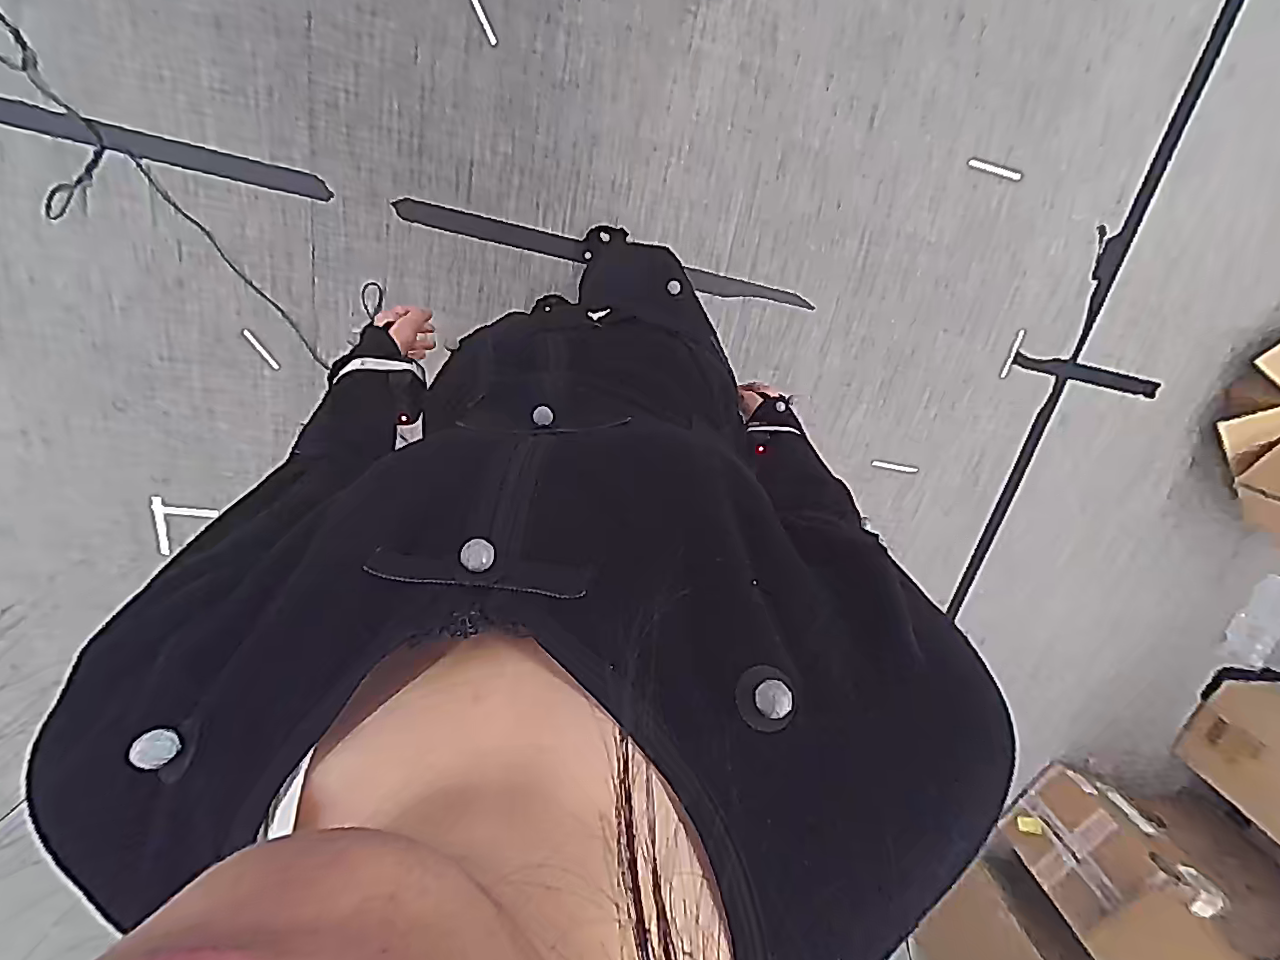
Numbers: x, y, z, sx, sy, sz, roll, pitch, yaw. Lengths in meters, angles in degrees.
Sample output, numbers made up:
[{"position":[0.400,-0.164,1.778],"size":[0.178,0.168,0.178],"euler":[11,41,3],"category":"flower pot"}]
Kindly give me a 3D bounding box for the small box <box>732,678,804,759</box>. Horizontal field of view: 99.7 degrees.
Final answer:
[{"position":[0.436,0.812,1.863],"size":[0.168,0.176,0.179],"euler":[-26,115,4],"category":"small box"}]
